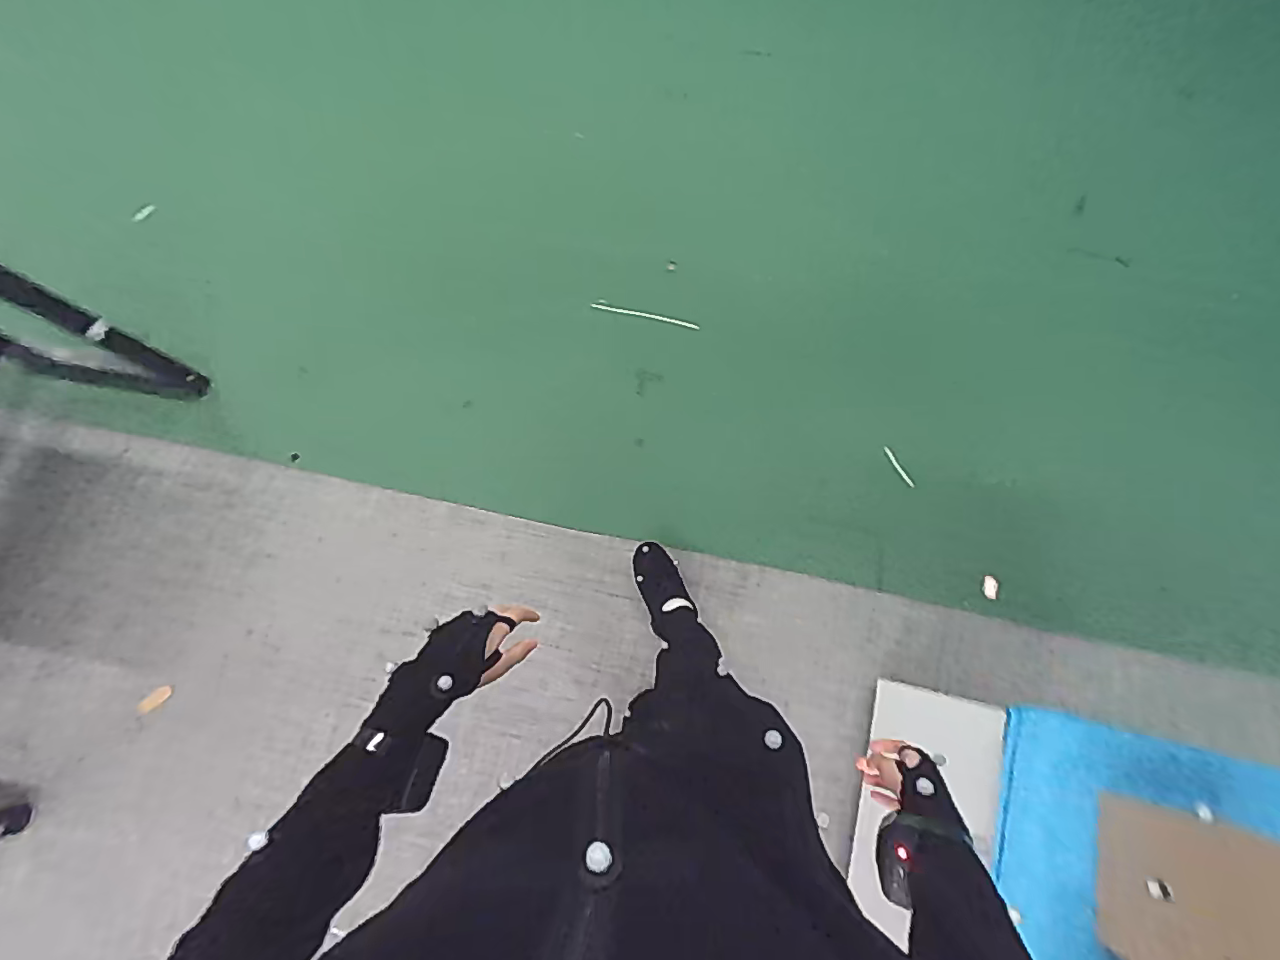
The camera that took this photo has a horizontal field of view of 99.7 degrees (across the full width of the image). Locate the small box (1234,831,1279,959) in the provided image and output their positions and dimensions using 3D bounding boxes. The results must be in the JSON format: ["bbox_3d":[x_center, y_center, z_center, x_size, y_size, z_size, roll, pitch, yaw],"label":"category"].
[{"bbox_3d":[0.667,0.438,0.454,0.168,0.176,0.179,14,76,3],"label":"small box"}]

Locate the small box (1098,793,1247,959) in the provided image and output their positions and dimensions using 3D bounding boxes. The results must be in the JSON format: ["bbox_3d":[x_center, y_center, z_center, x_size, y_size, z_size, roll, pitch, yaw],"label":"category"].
[{"bbox_3d":[0.666,0.489,0.611,0.168,0.176,0.179,13,75,3],"label":"small box"}]
